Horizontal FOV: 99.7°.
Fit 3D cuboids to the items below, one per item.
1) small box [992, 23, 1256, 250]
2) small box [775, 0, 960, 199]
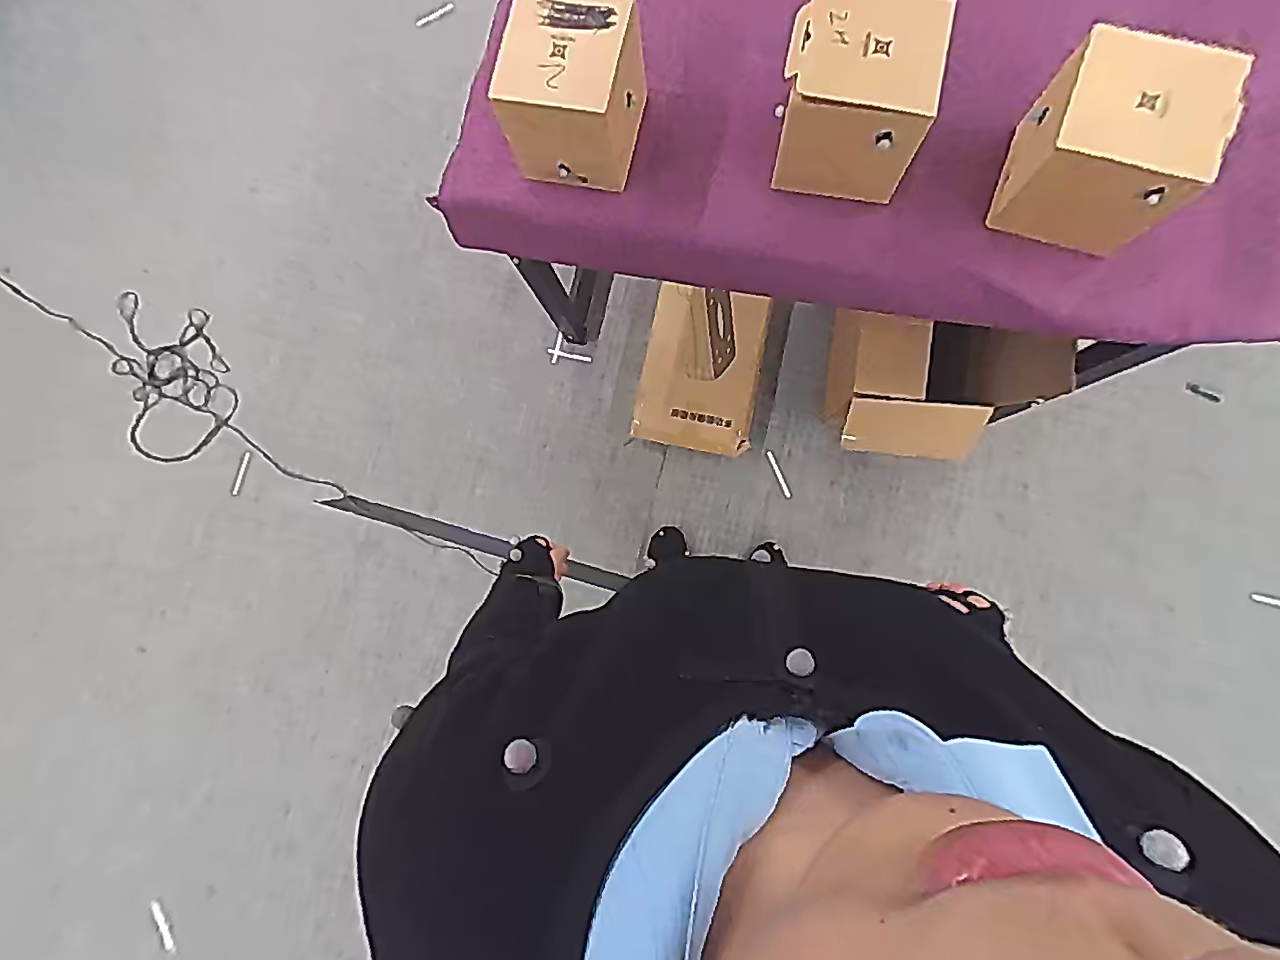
[{"bbox_3d":[0.600,-0.426,0.698,0.179,0.176,0.168,19,86,8],"label":"small box"},{"bbox_3d":[0.296,-0.515,0.739,0.179,0.176,0.168,12,83,7],"label":"small box"}]
